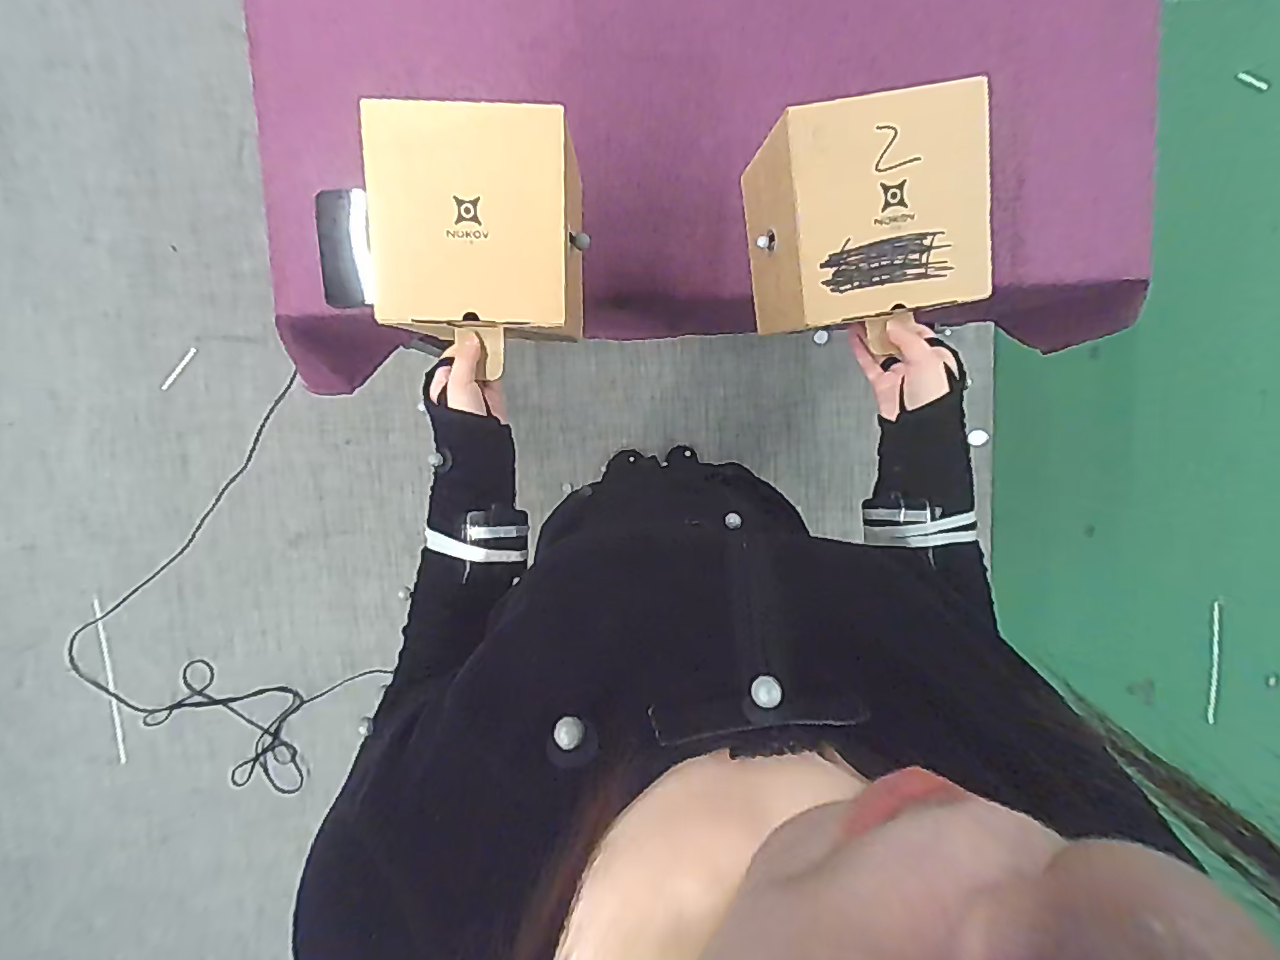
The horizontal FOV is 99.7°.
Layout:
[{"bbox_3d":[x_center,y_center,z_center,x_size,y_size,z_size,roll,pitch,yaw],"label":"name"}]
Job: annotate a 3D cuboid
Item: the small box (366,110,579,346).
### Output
[{"bbox_3d":[-0.150,-0.231,0.540,0.168,0.176,0.179,1,101,-2],"label":"small box"}]
